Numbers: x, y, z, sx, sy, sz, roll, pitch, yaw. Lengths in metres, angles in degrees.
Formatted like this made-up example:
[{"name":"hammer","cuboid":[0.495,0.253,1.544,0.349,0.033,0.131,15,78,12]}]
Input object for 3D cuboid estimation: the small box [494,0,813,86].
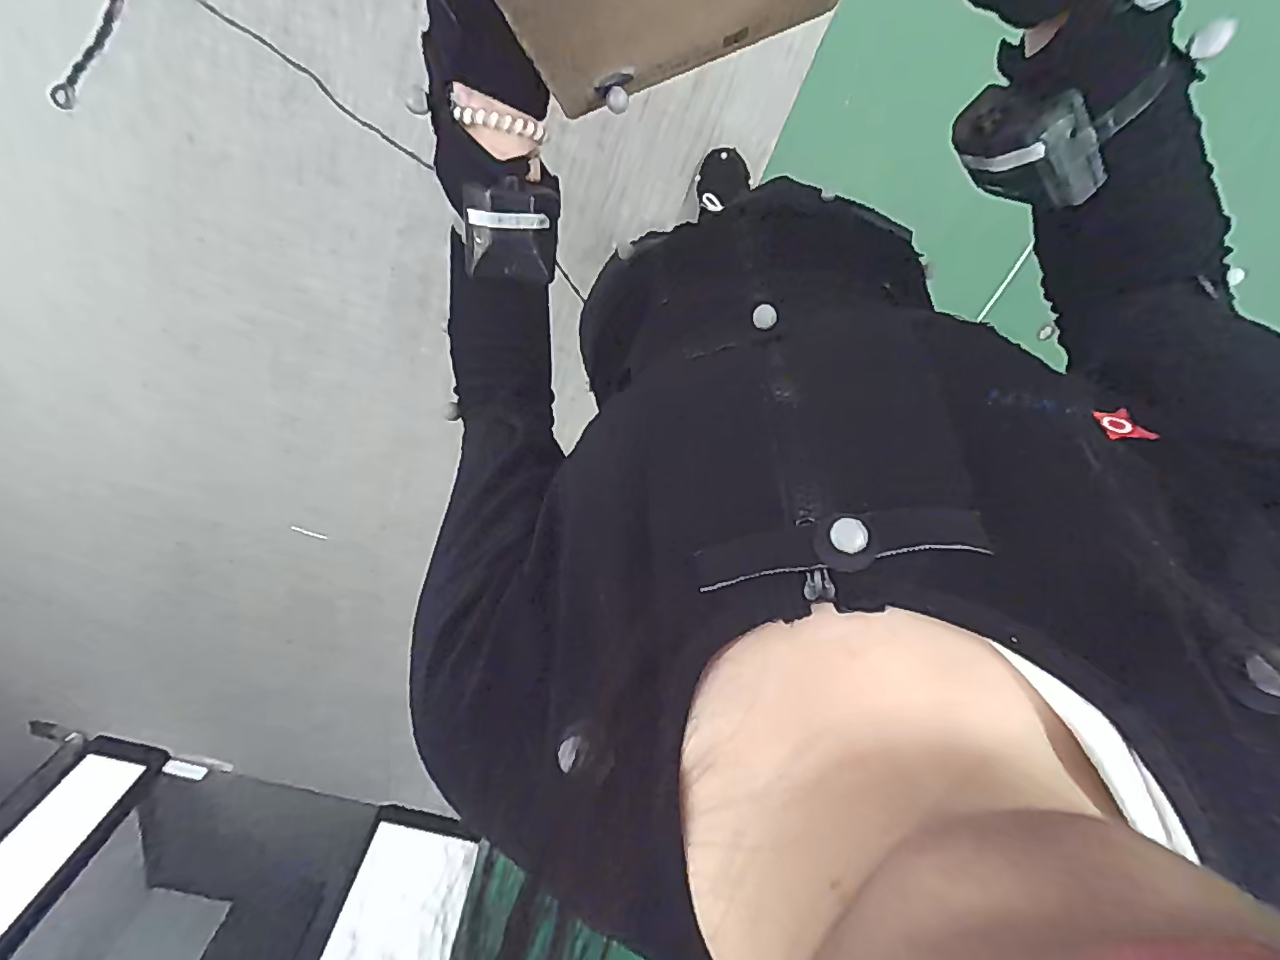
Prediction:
[{"name":"small box","cuboid":[0.000,-0.297,0.216,0.168,0.176,0.179,-17,106,10]}]
